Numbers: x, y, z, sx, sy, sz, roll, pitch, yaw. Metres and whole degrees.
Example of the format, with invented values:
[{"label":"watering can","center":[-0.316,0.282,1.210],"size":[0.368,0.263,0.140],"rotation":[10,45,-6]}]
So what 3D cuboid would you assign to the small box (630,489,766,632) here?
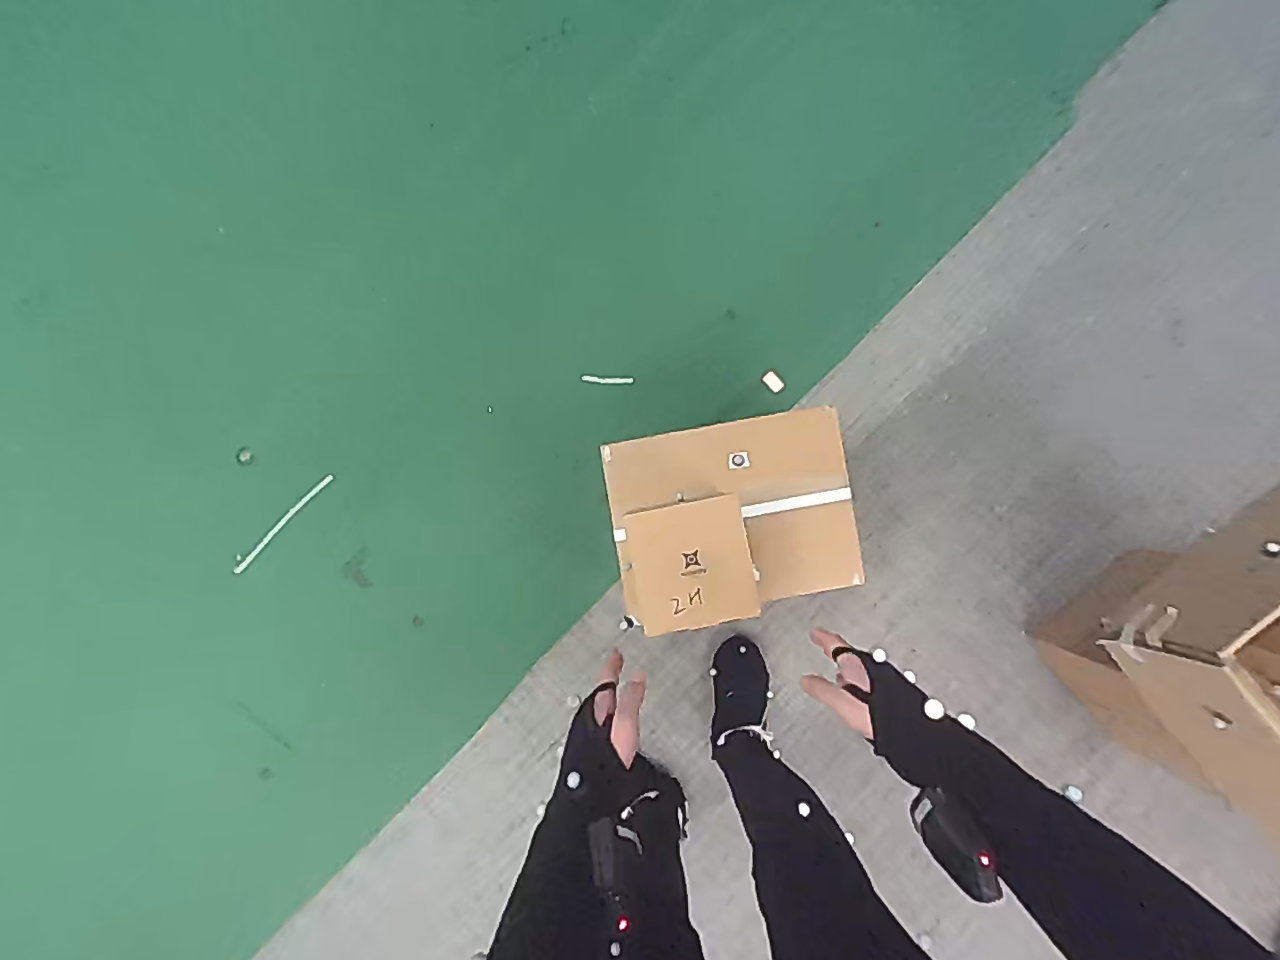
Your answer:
[{"label":"small box","center":[0.080,0.113,0.821],"size":[0.168,0.176,0.179],"rotation":[-11,89,2]}]
